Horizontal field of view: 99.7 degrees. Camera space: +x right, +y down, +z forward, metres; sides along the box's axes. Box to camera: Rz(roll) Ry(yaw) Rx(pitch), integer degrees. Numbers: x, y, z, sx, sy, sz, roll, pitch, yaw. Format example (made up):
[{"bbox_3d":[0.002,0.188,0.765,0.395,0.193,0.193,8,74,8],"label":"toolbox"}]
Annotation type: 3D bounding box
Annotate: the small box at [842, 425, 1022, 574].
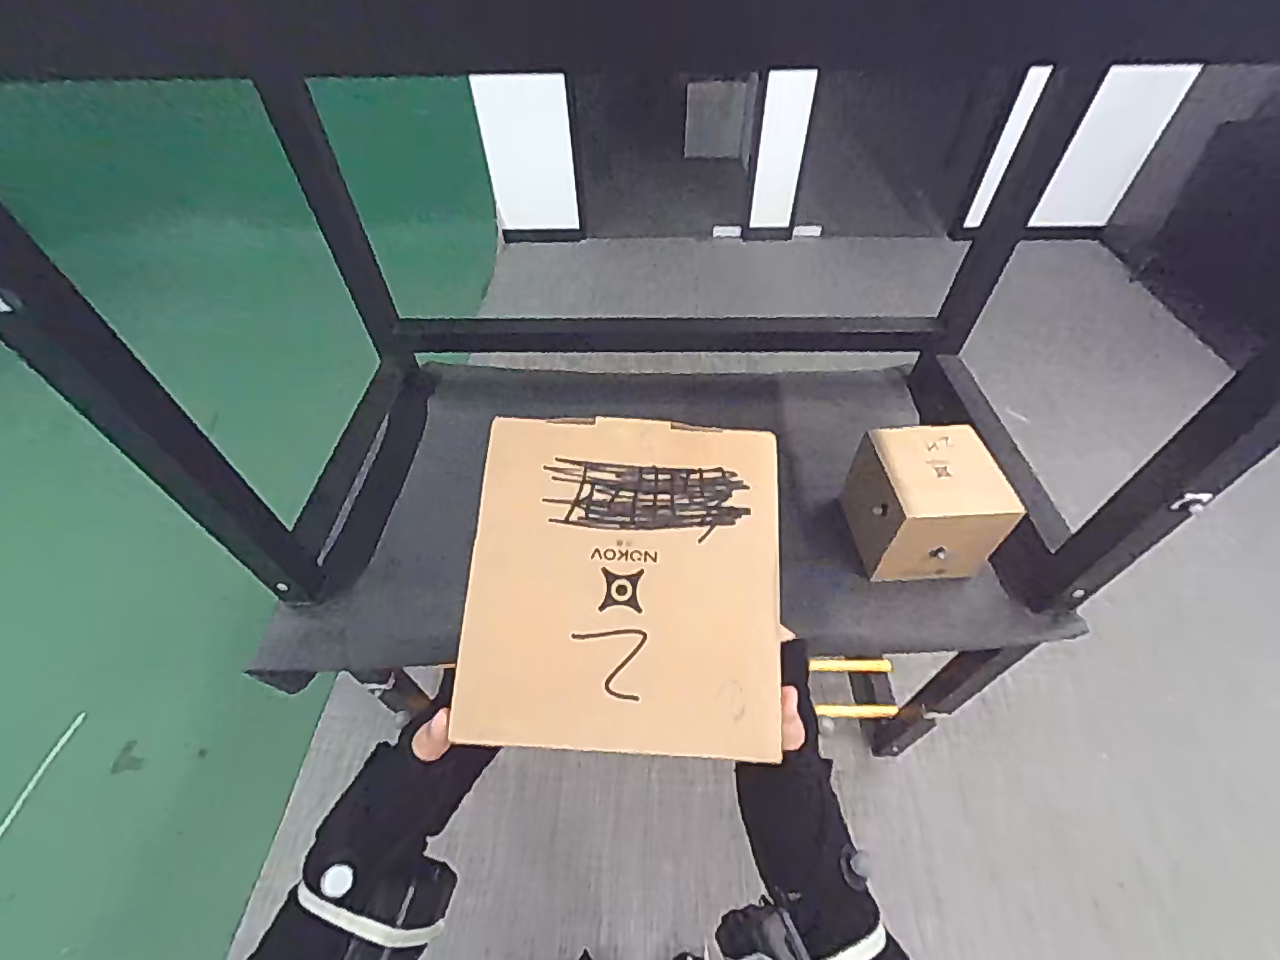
[{"bbox_3d":[0.437,0.037,0.844,0.168,0.176,0.179,-3,48,-1],"label":"small box"}]
